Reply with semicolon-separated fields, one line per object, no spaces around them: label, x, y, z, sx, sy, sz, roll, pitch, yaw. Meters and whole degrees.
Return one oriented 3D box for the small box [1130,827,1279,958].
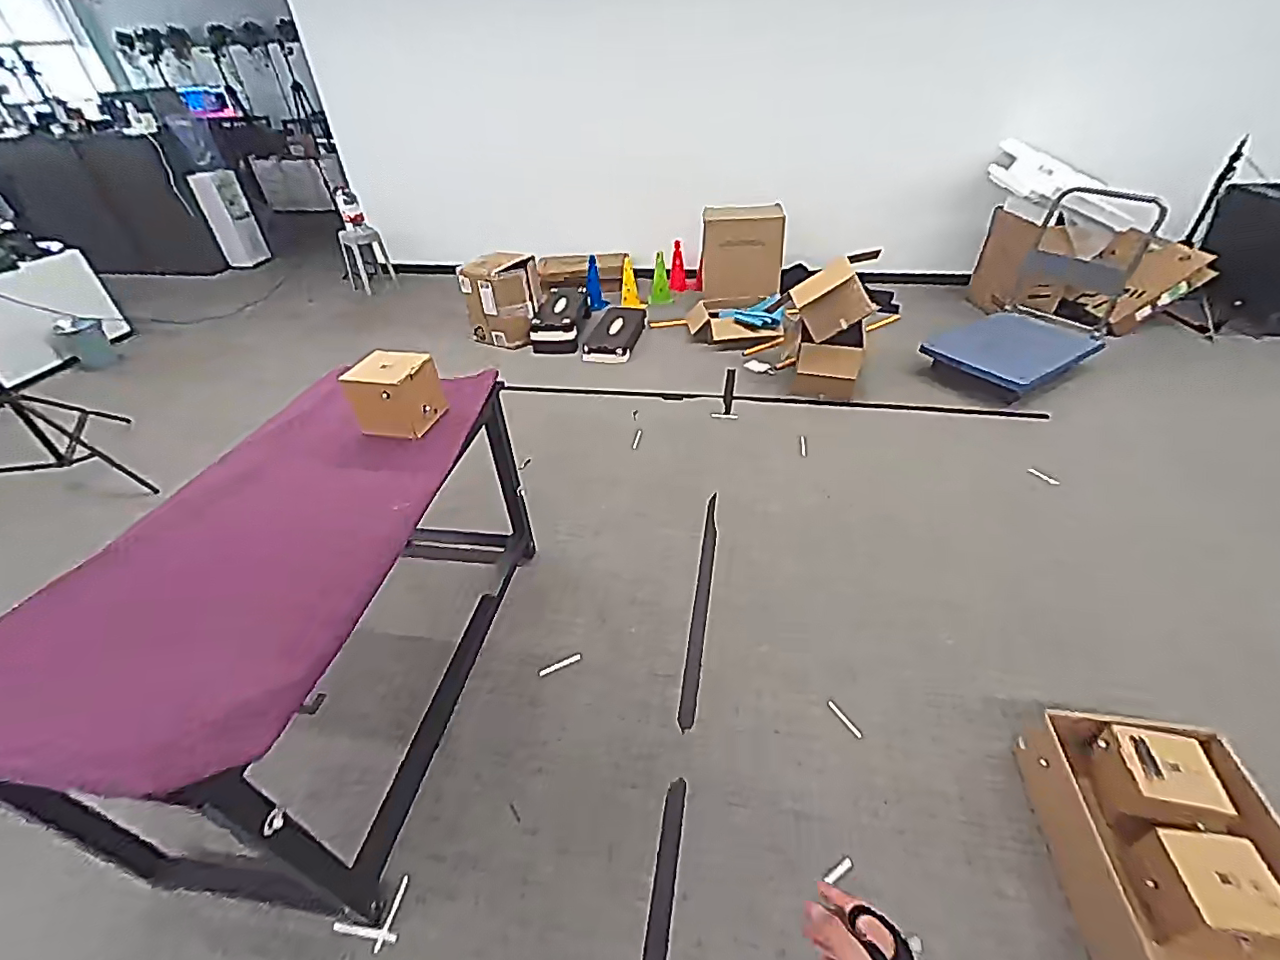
small box;1.159;0.841;1.102;0.179;0.176;0.168;3;39;8

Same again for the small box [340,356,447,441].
small box;-0.653;-0.218;1.452;0.179;0.176;0.168;6;40;13
